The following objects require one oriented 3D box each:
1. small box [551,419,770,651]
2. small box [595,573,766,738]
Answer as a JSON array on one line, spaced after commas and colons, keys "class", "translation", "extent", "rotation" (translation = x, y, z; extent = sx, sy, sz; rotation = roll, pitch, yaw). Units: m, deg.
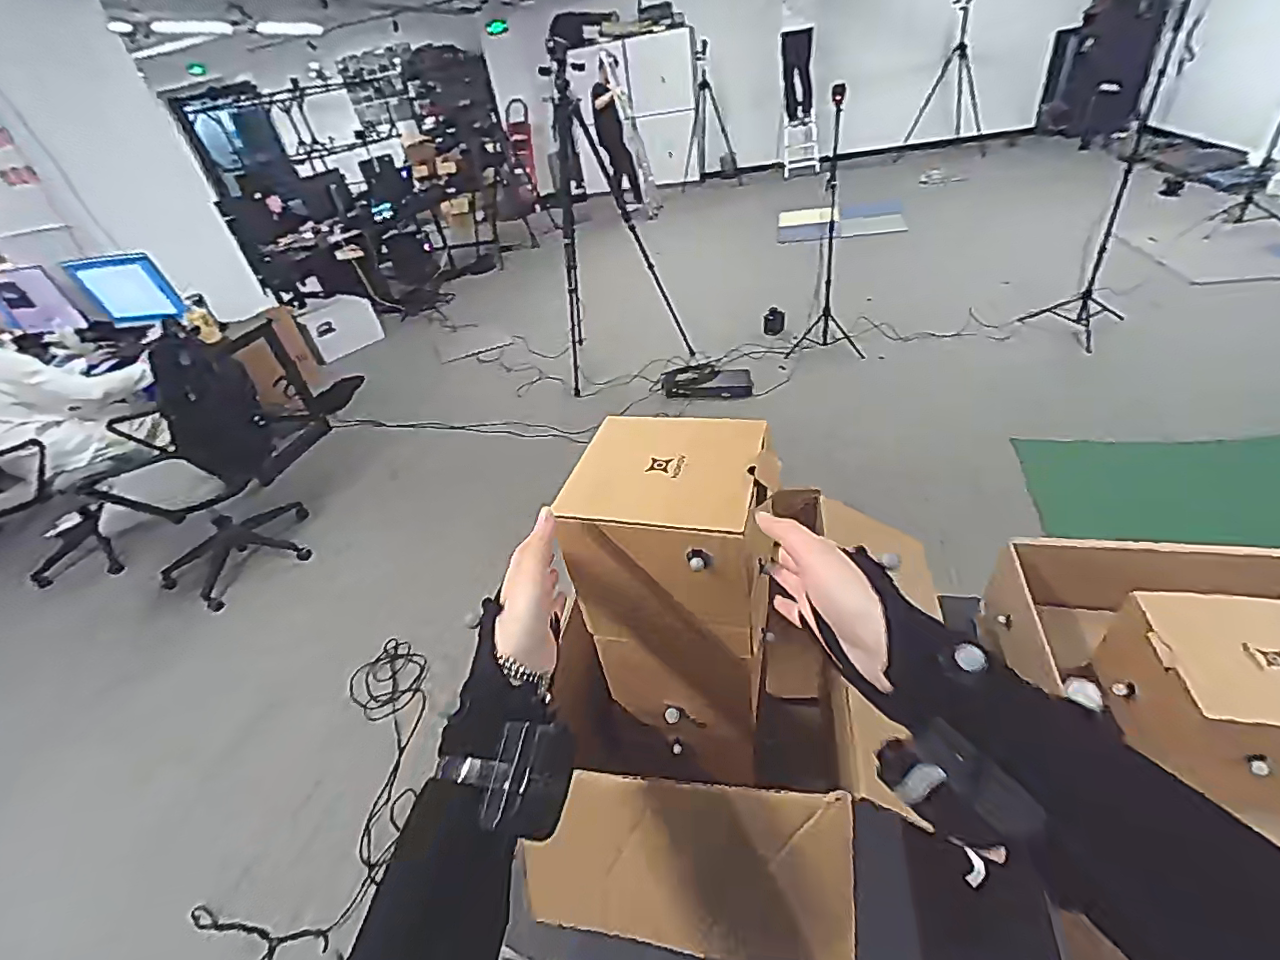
[{"class": "small box", "translation": [0.036, 0.053, 0.556], "extent": [0.179, 0.176, 0.168], "rotation": [4, 40, 18]}, {"class": "small box", "translation": [0.062, 0.177, 0.656], "extent": [0.168, 0.176, 0.179], "rotation": [4, 41, 17]}]
